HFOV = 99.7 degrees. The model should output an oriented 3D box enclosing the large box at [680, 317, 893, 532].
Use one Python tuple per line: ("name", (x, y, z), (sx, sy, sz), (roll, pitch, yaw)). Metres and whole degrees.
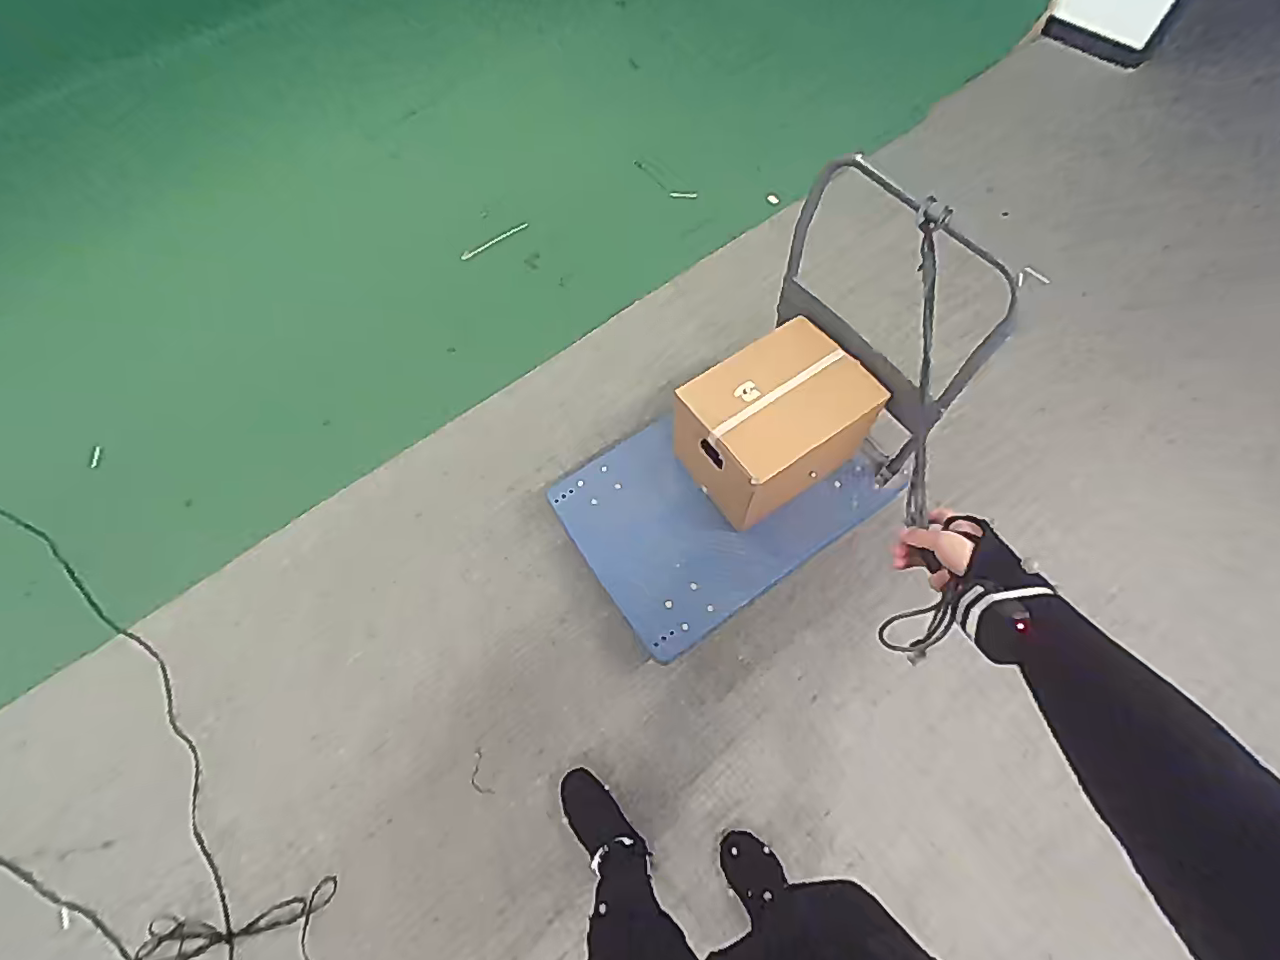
("large box", (0.352, -0.134, 1.397), (0.408, 0.320, 0.320), (-33, 67, -12))
